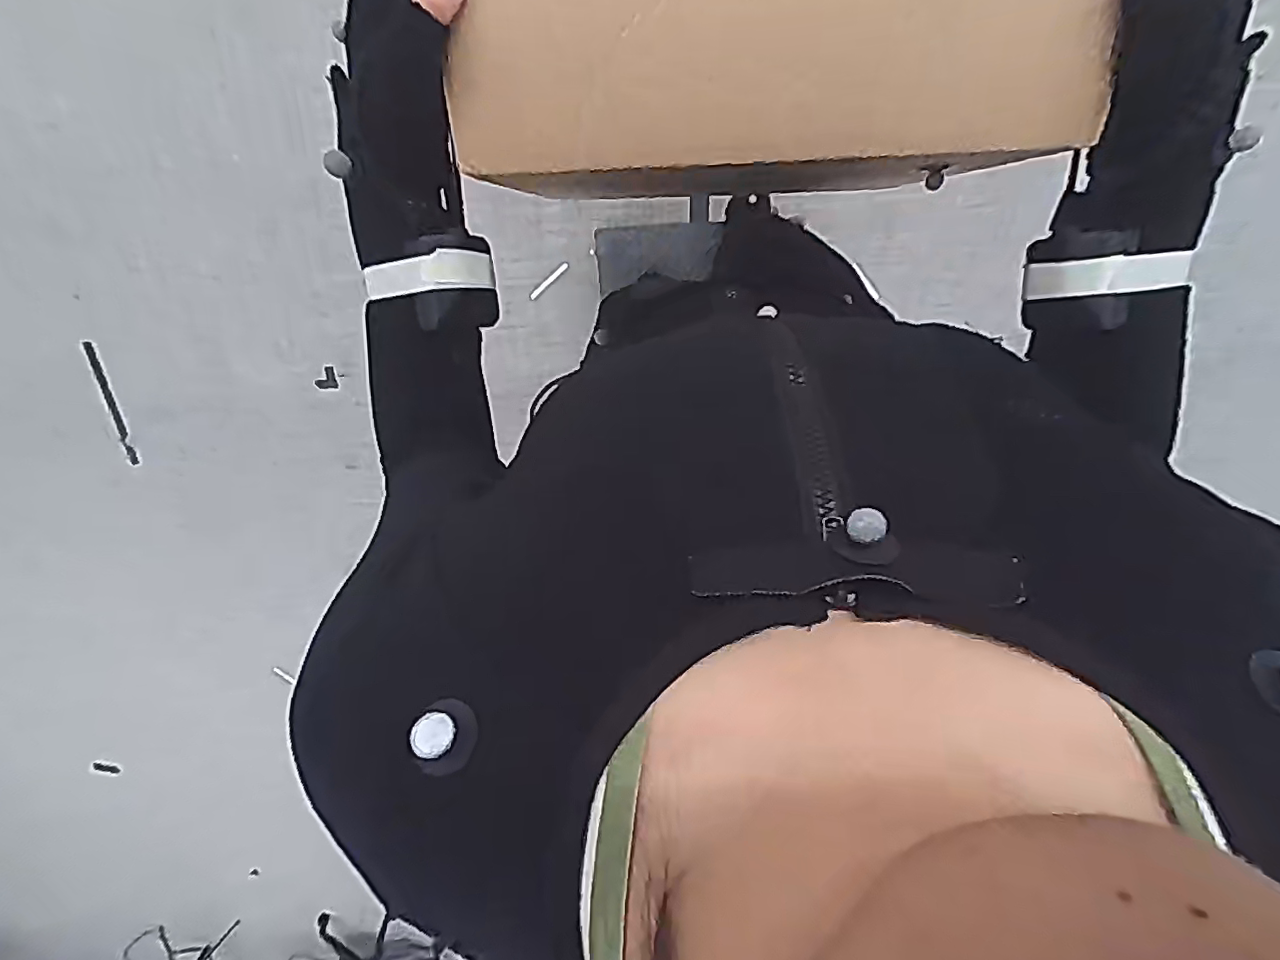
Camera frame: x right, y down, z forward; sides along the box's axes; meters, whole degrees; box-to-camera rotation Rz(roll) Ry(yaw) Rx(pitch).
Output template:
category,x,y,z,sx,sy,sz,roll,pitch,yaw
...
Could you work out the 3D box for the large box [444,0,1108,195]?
category,x,y,z,sx,sy,sz,roll,pitch,yaw
large box,0.081,-0.413,0.427,0.408,0.320,0.320,-1,114,2
